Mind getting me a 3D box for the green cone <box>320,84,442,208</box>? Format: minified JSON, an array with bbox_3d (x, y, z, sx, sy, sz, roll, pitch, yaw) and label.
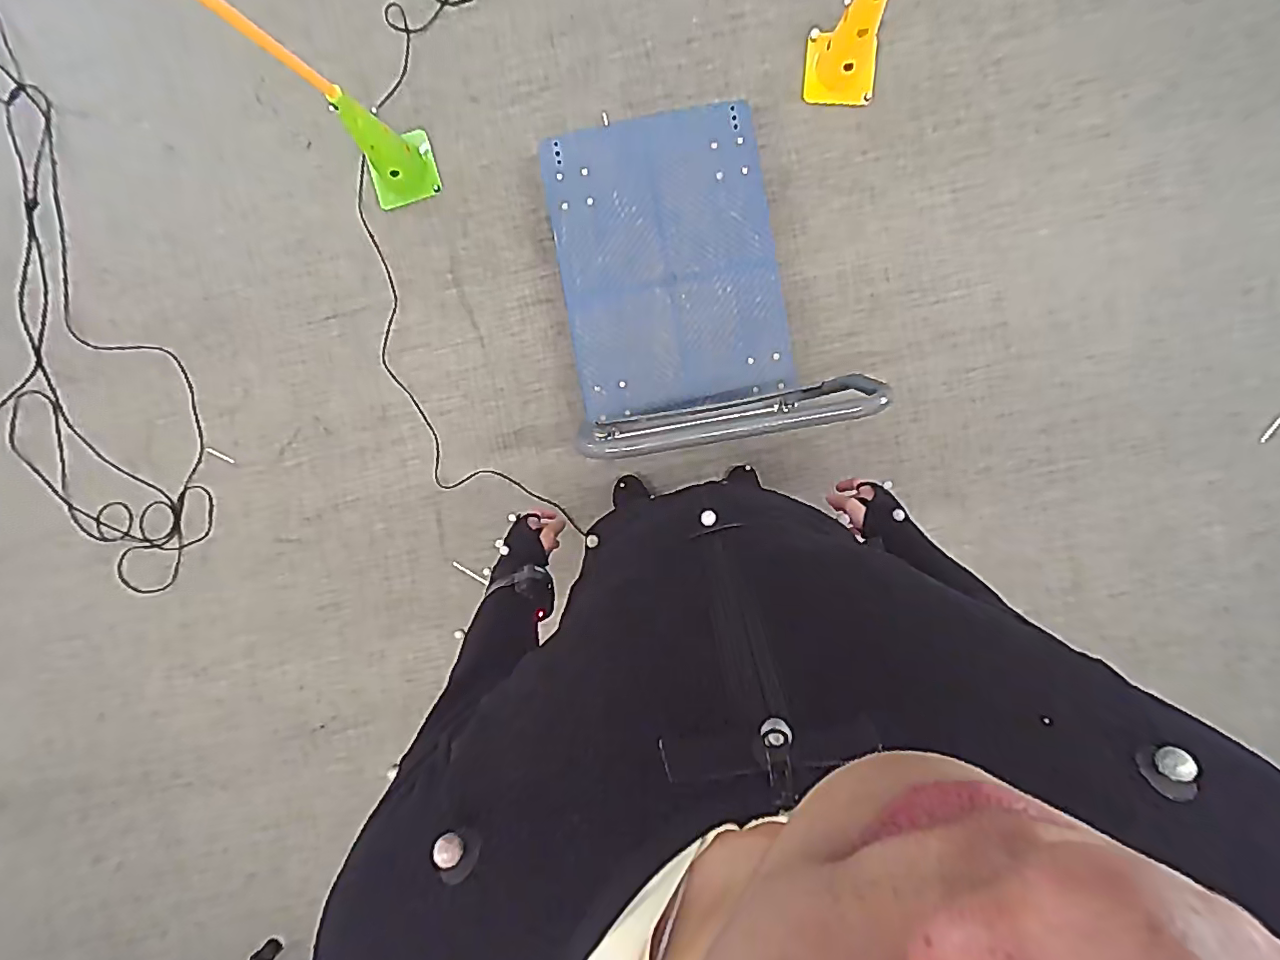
[{"bbox_3d":[-0.729,-0.941,1.468,0.202,0.368,0.200,-16,91,5],"label":"green cone"}]
